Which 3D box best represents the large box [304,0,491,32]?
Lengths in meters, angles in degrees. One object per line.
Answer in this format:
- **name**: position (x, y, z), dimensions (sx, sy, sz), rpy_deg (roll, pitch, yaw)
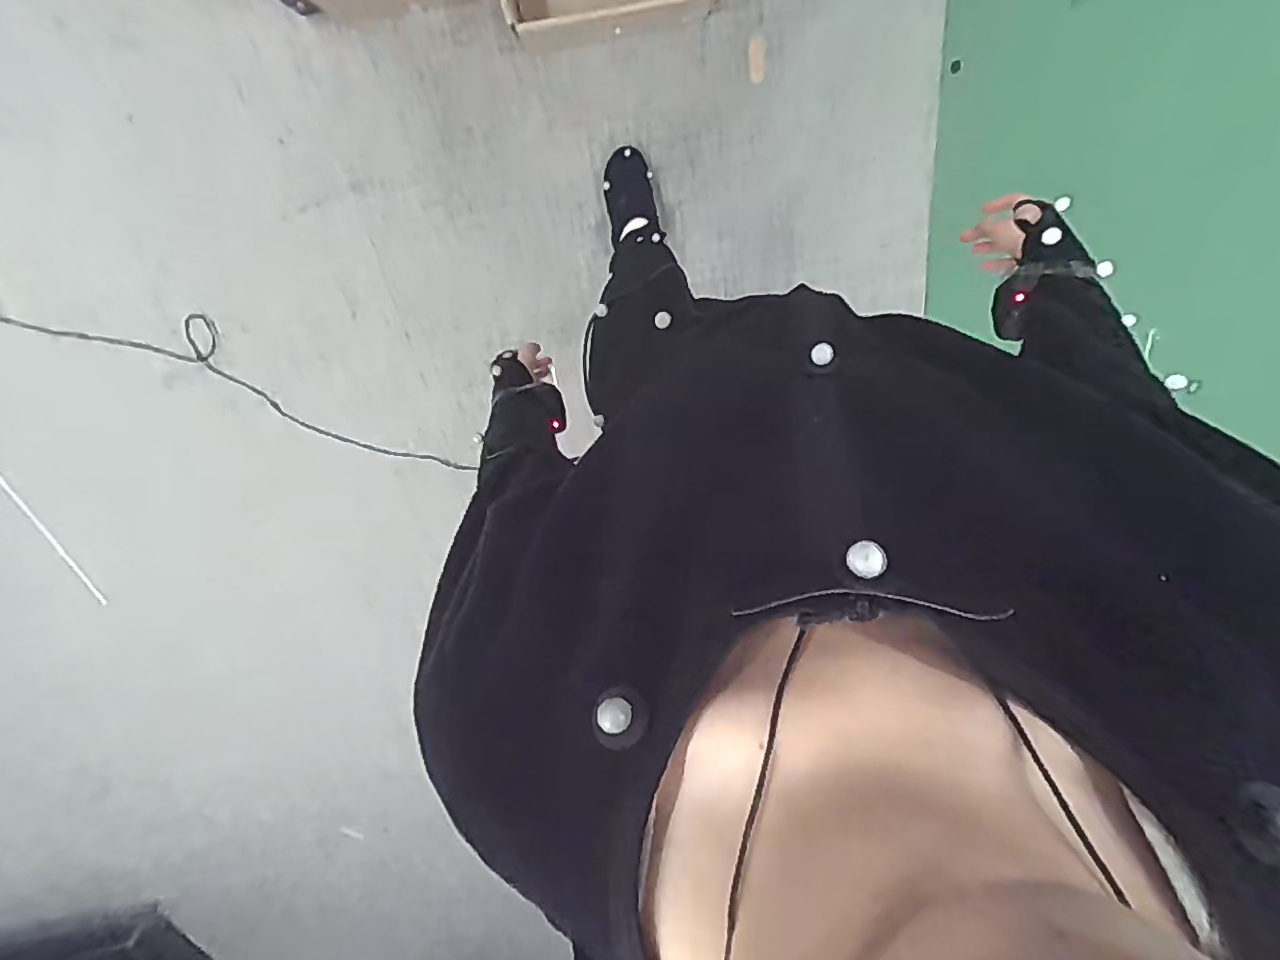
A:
- **large box**: position (-0.465, -1.036, 0.870), dimensions (0.320, 0.320, 0.408), rpy_deg (-11, 118, 1)
